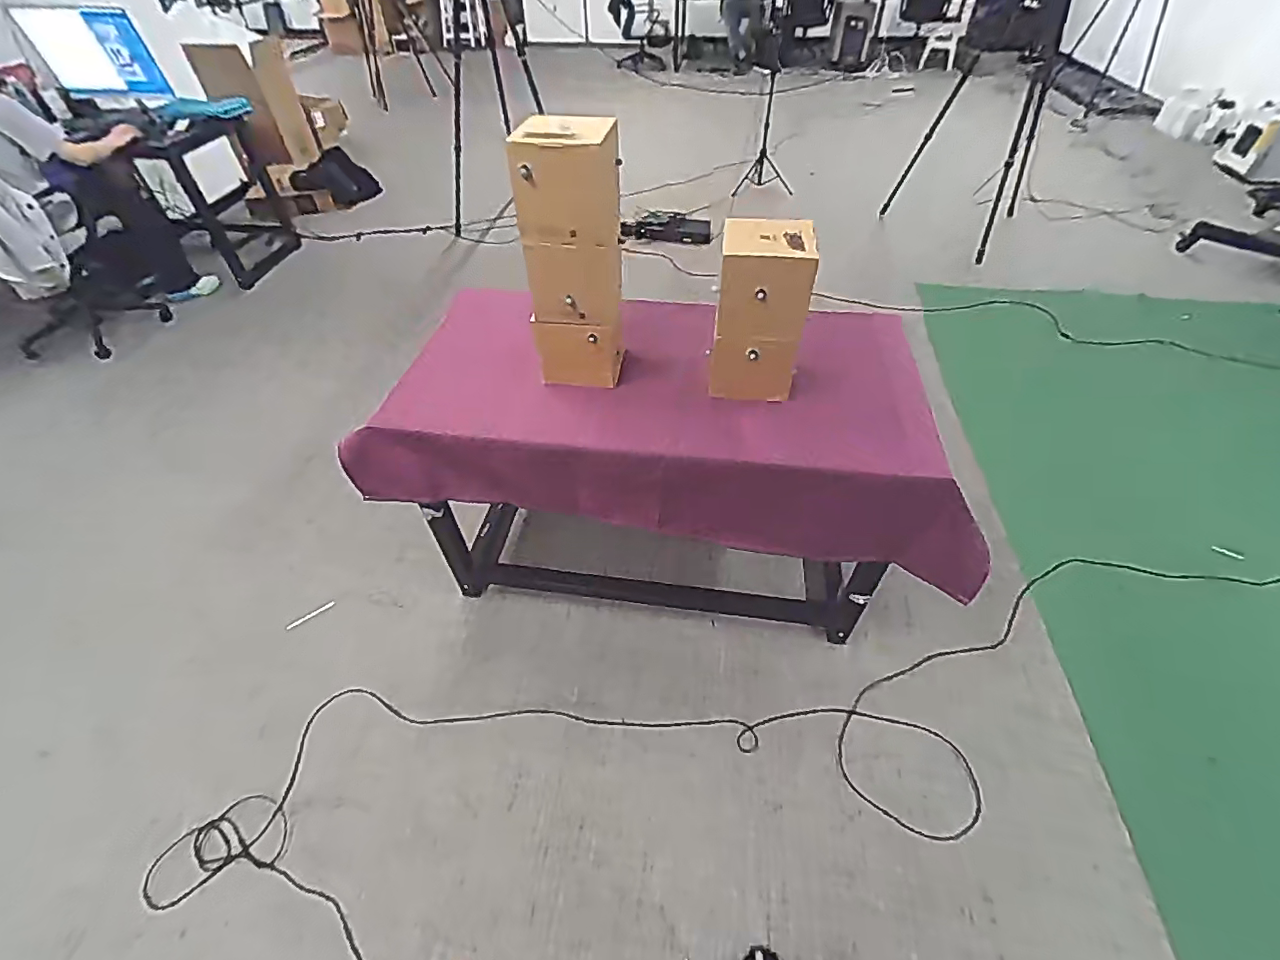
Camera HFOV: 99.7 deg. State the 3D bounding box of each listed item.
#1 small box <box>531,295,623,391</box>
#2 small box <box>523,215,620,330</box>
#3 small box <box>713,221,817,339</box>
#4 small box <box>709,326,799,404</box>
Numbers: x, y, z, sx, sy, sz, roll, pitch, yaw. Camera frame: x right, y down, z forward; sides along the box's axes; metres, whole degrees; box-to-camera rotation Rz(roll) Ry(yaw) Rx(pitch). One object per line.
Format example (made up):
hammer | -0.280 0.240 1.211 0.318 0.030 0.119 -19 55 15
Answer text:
small box | -0.138 -0.322 1.256 0.179 0.176 0.168 4 47 5
small box | -0.134 -0.438 1.138 0.168 0.176 0.179 4 47 5
small box | 0.245 -0.399 1.088 0.179 0.176 0.168 4 47 7
small box | 0.249 -0.286 1.207 0.179 0.176 0.168 6 48 6
